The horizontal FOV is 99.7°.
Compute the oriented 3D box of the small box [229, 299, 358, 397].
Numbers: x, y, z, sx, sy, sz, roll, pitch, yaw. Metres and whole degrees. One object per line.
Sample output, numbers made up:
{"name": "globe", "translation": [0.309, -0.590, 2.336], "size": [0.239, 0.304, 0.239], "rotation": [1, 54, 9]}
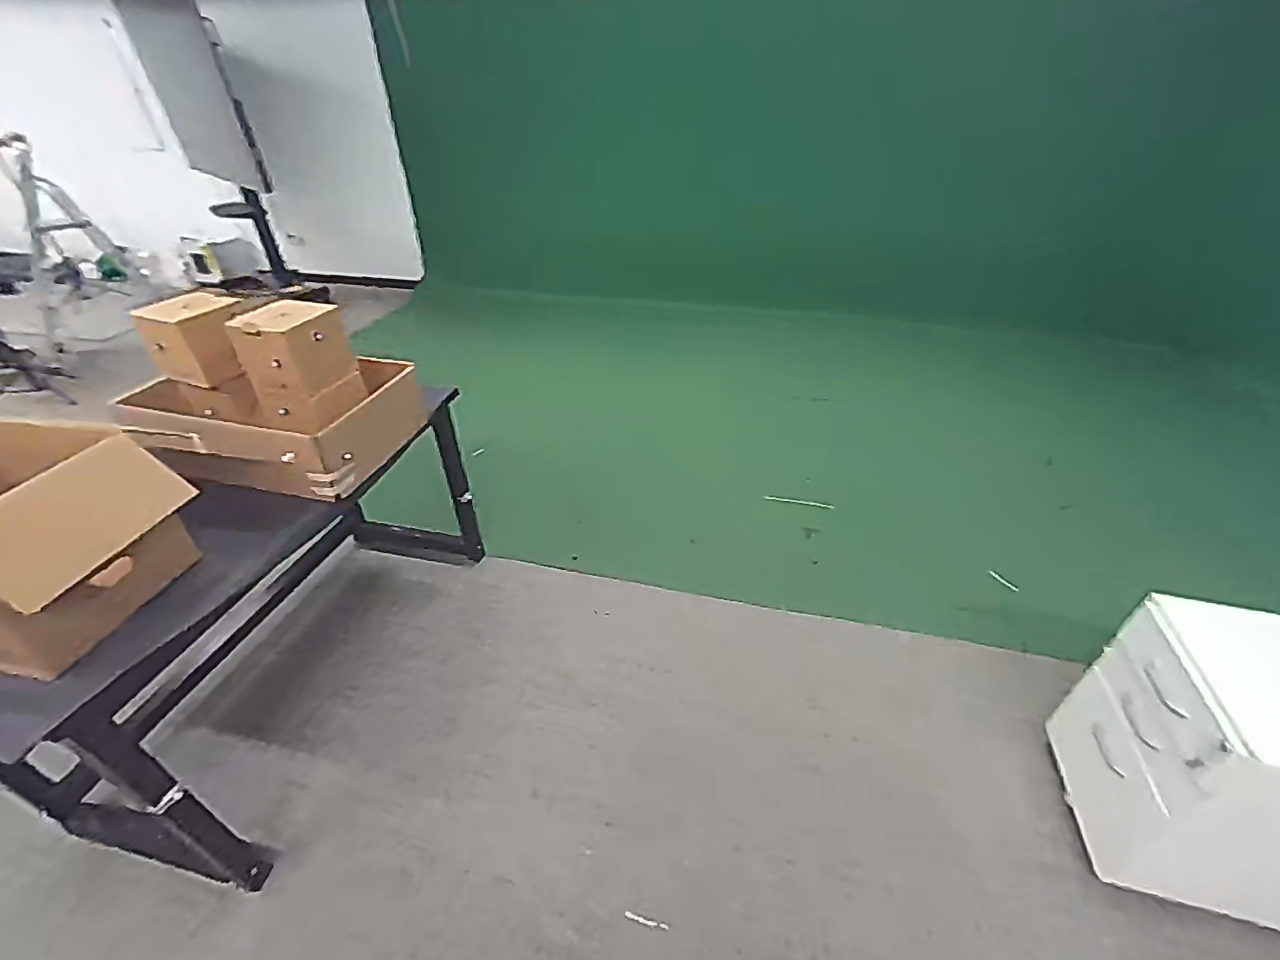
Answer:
{"name": "small box", "translation": [-0.813, -0.316, 1.294], "size": [0.168, 0.176, 0.179], "rotation": [11, 38, 13]}

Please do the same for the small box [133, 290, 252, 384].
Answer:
{"name": "small box", "translation": [-1.076, -0.355, 1.343], "size": [0.168, 0.176, 0.179], "rotation": [14, 38, 16]}
